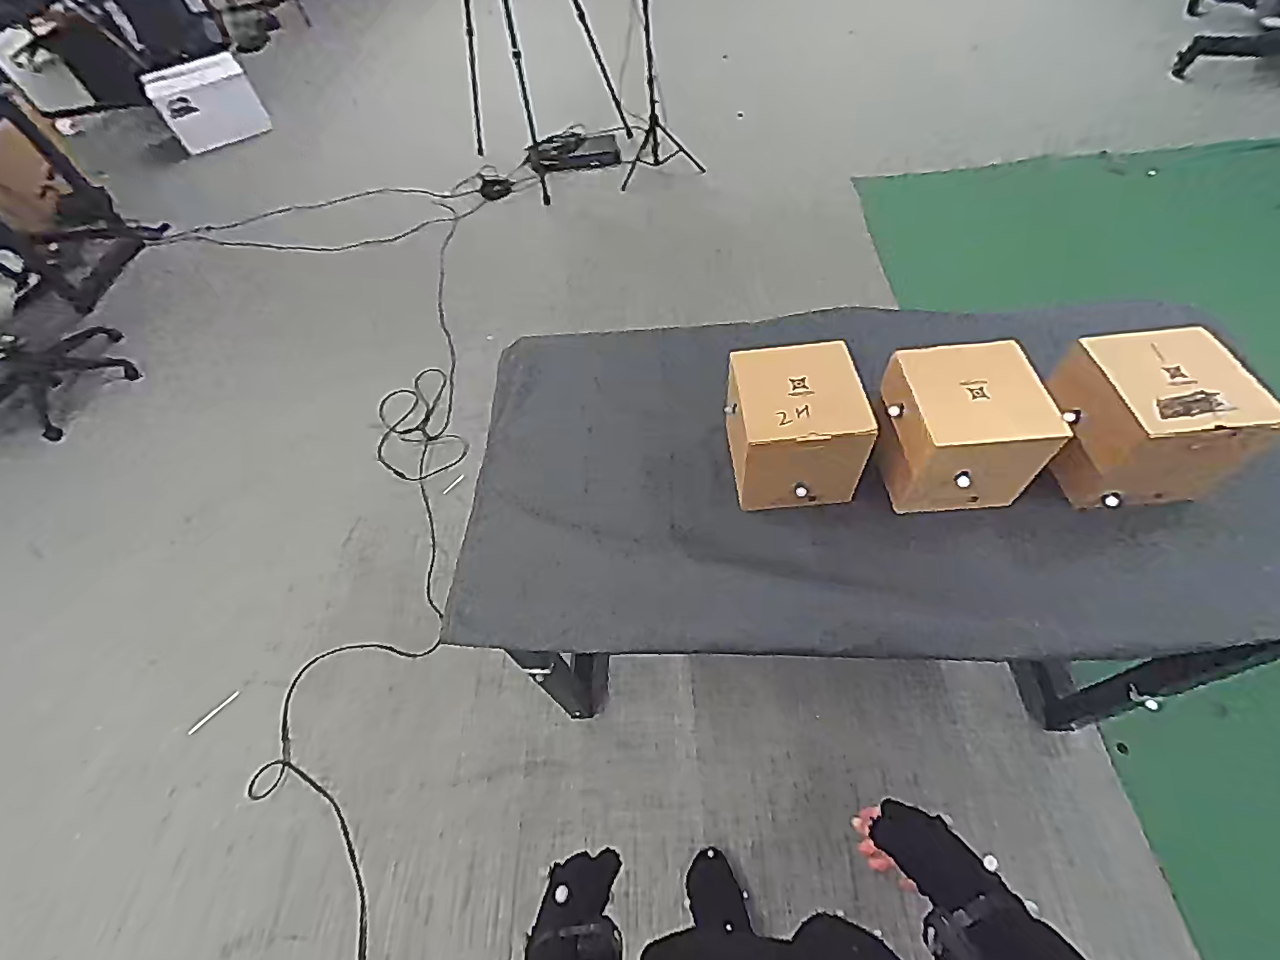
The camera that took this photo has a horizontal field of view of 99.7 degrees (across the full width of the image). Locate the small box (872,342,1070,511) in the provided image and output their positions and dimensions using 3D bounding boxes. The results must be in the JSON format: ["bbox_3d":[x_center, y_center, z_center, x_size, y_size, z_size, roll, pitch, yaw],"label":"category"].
[{"bbox_3d":[0.444,-0.067,0.766,0.168,0.176,0.179,-5,54,4],"label":"small box"}]

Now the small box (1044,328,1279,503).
[{"bbox_3d":[0.683,-0.080,0.742,0.168,0.176,0.179,-5,54,4],"label":"small box"}]

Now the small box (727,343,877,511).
[{"bbox_3d":[0.222,-0.075,0.795,0.168,0.176,0.179,-5,55,4],"label":"small box"}]
